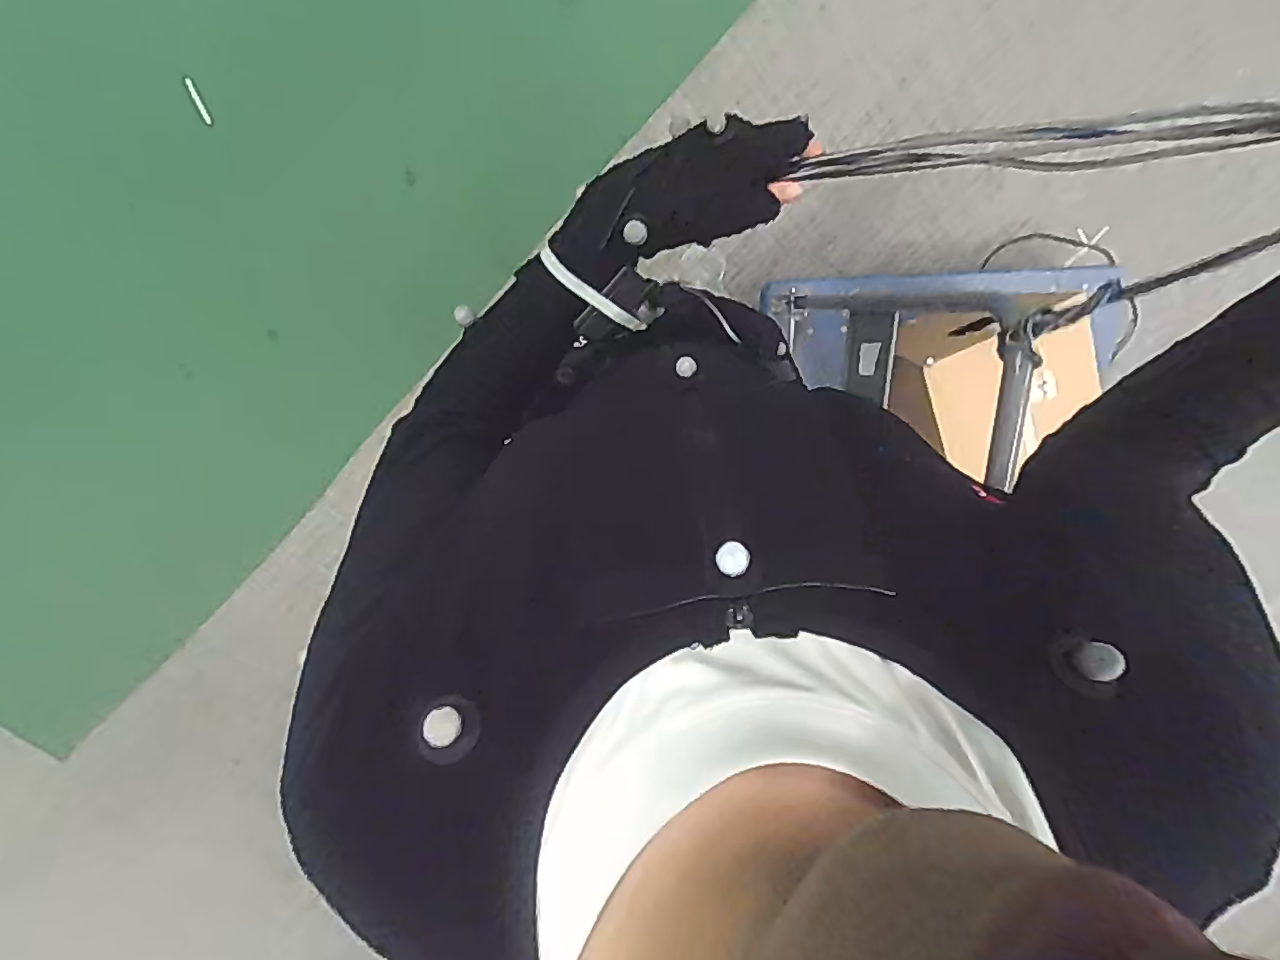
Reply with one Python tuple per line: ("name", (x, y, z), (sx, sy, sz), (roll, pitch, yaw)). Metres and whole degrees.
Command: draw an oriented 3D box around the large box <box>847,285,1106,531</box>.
("large box", (0.711, -0.168, 1.181), (0.320, 0.320, 0.408), (-25, 108, 3))
